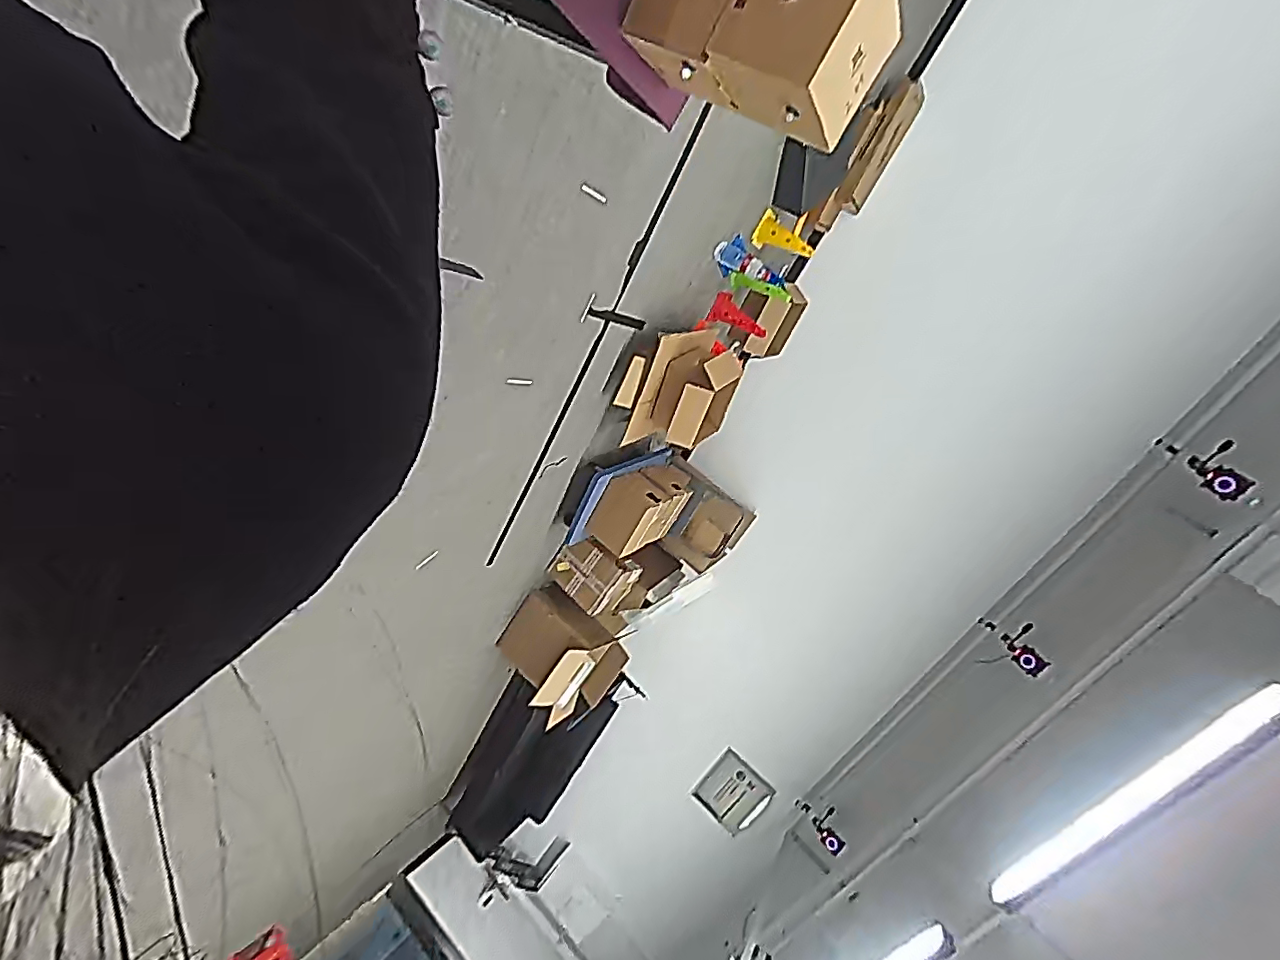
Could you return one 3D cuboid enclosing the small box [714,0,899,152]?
[{"bbox_3d":[0.228,-0.601,0.748,0.168,0.176,0.179,-59,159,19],"label":"small box"}]
